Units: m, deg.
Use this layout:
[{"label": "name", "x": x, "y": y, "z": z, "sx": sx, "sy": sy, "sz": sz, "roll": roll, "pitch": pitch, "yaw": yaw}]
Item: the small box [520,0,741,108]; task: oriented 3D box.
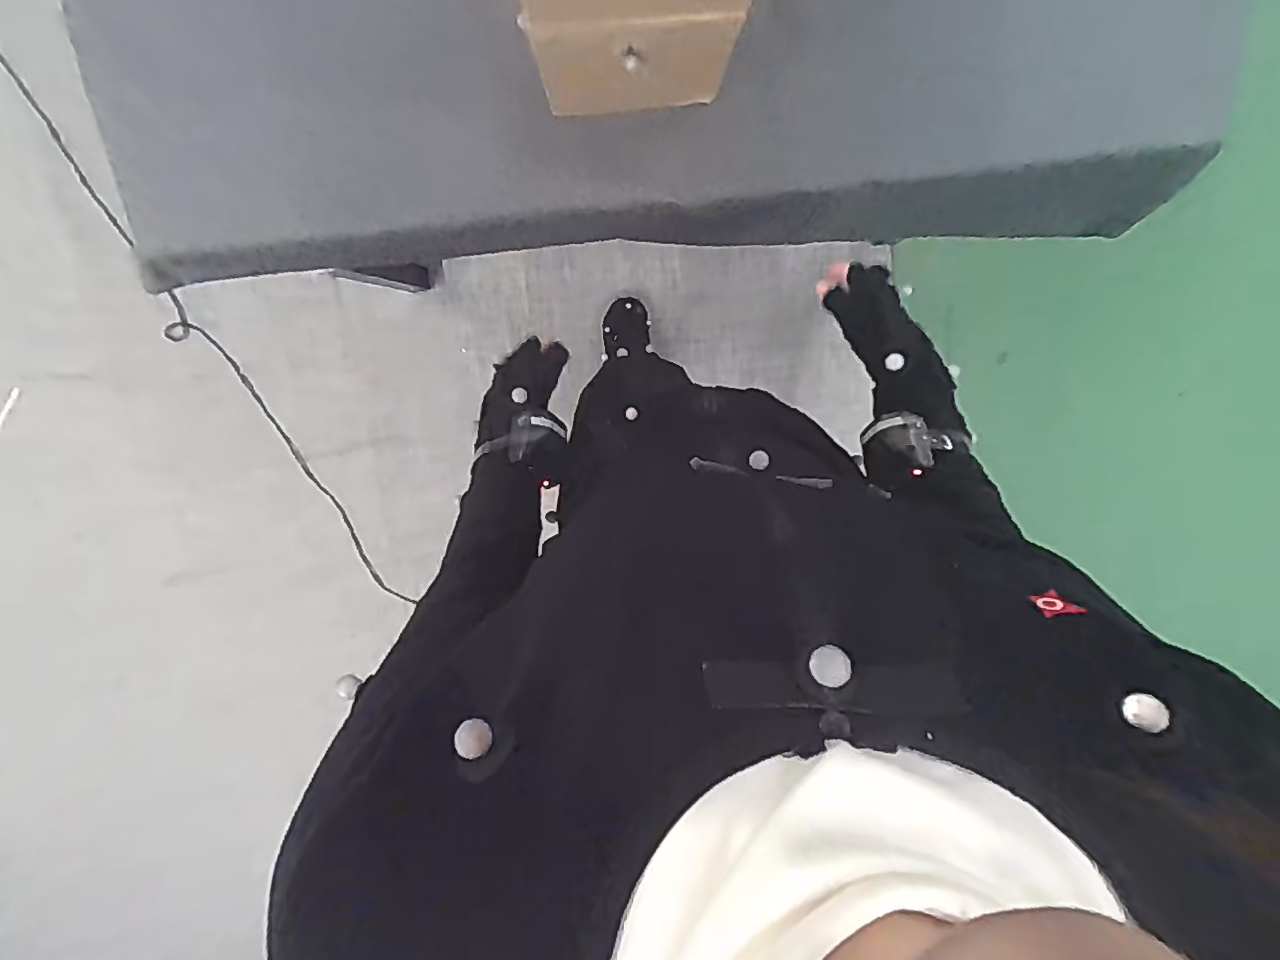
[{"label": "small box", "x": -0.015, "y": -0.461, "z": 0.485, "sx": 0.179, "sy": 0.176, "sz": 0.168, "roll": -6, "pitch": 106, "yaw": -1}]

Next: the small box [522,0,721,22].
[{"label": "small box", "x": -0.008, "y": -0.419, "z": 0.326, "sx": 0.179, "sy": 0.176, "sz": 0.168, "roll": -4, "pitch": 106, "yaw": 1}]
